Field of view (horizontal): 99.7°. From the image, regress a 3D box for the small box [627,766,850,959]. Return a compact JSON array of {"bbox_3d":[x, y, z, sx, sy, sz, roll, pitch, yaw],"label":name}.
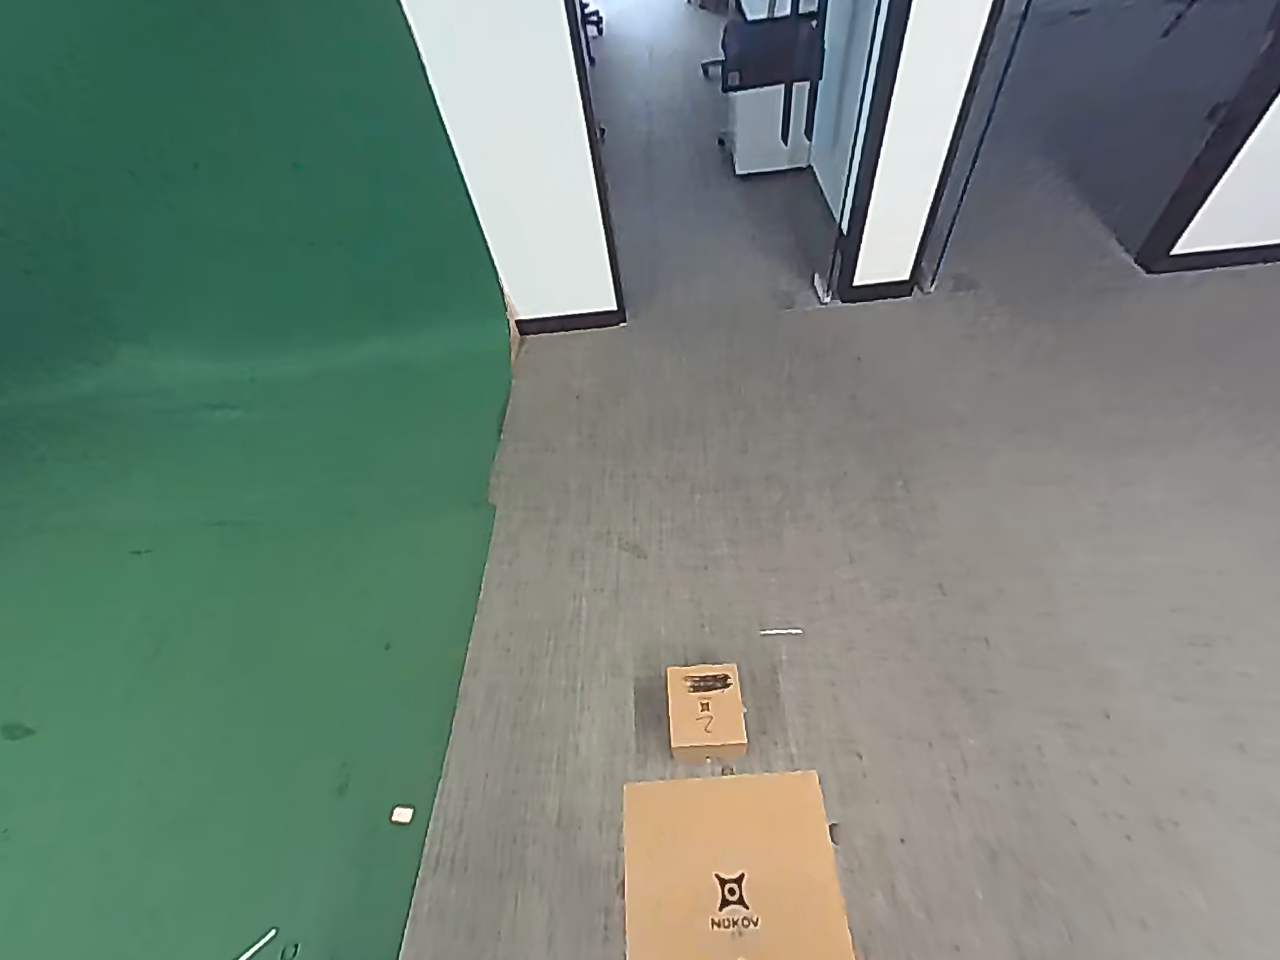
[{"bbox_3d":[0.084,0.368,0.484,0.168,0.176,0.179,-8,56,8],"label":"small box"}]
